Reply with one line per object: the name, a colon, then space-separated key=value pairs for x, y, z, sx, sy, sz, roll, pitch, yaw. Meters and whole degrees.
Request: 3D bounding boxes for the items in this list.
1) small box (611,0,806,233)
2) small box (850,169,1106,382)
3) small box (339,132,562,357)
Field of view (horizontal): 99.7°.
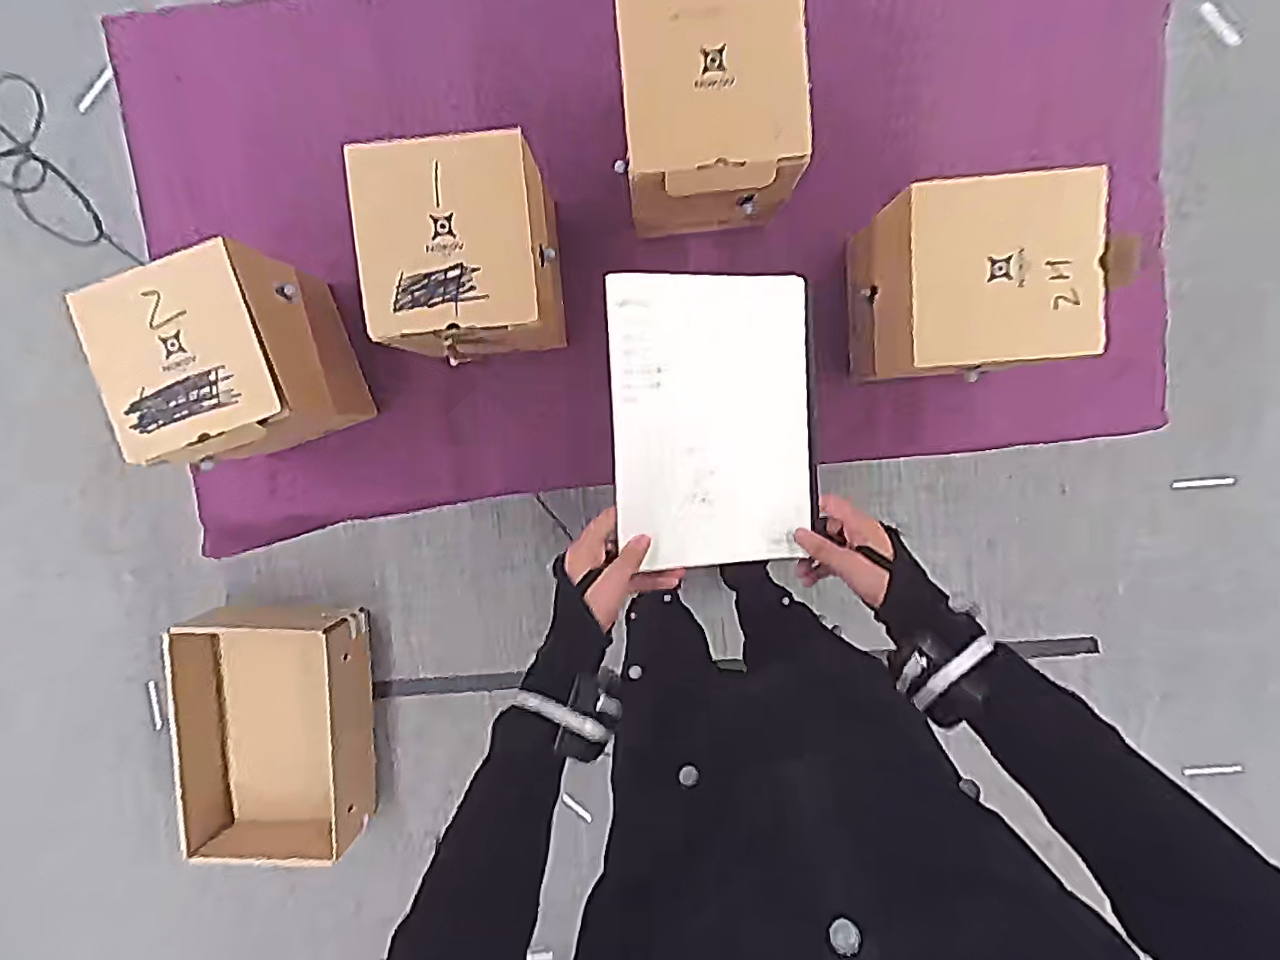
small box: x=0.063 y=-0.370 z=0.554 sx=0.168 sy=0.176 sz=0.179 roll=-5 pitch=96 yaw=1
small box: x=0.330 y=-0.196 z=0.564 sx=0.179 sy=0.176 sz=0.168 roll=-4 pitch=96 yaw=2
small box: x=-0.182 y=-0.228 z=0.573 sx=0.168 sy=0.176 sz=0.179 roll=-5 pitch=95 yaw=1
